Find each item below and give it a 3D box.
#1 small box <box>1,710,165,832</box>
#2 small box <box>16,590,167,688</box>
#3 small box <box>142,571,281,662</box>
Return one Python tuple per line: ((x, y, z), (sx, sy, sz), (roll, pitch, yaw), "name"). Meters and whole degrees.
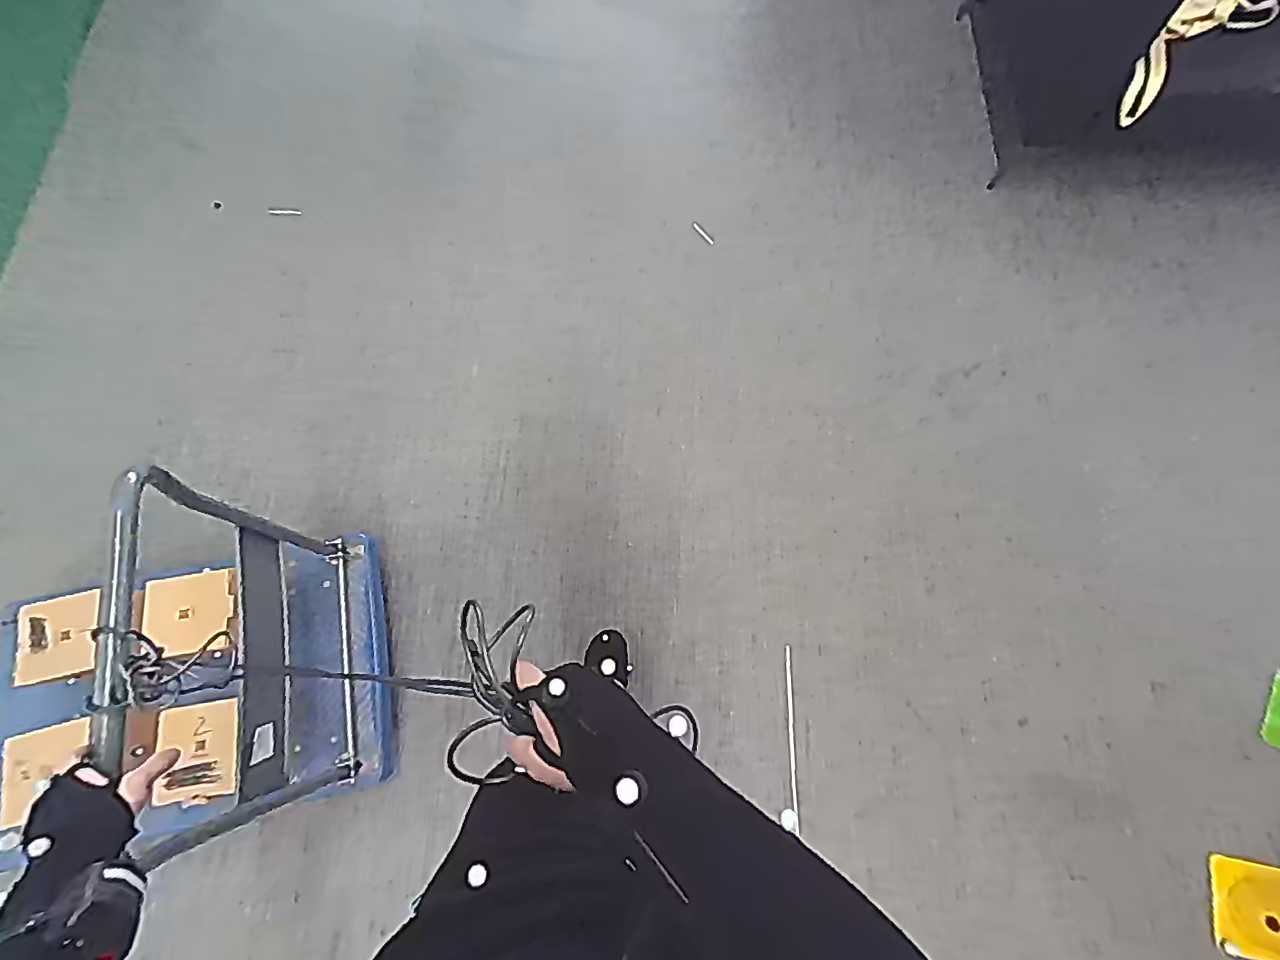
((-1.134, 0.588, 1.117), (0.179, 0.176, 0.168), (-14, 73, -5), "small box")
((-1.187, 0.349, 1.189), (0.179, 0.176, 0.168), (-13, 74, -5), "small box")
((-0.944, 0.307, 1.204), (0.179, 0.176, 0.168), (-10, 74, -3), "small box")
